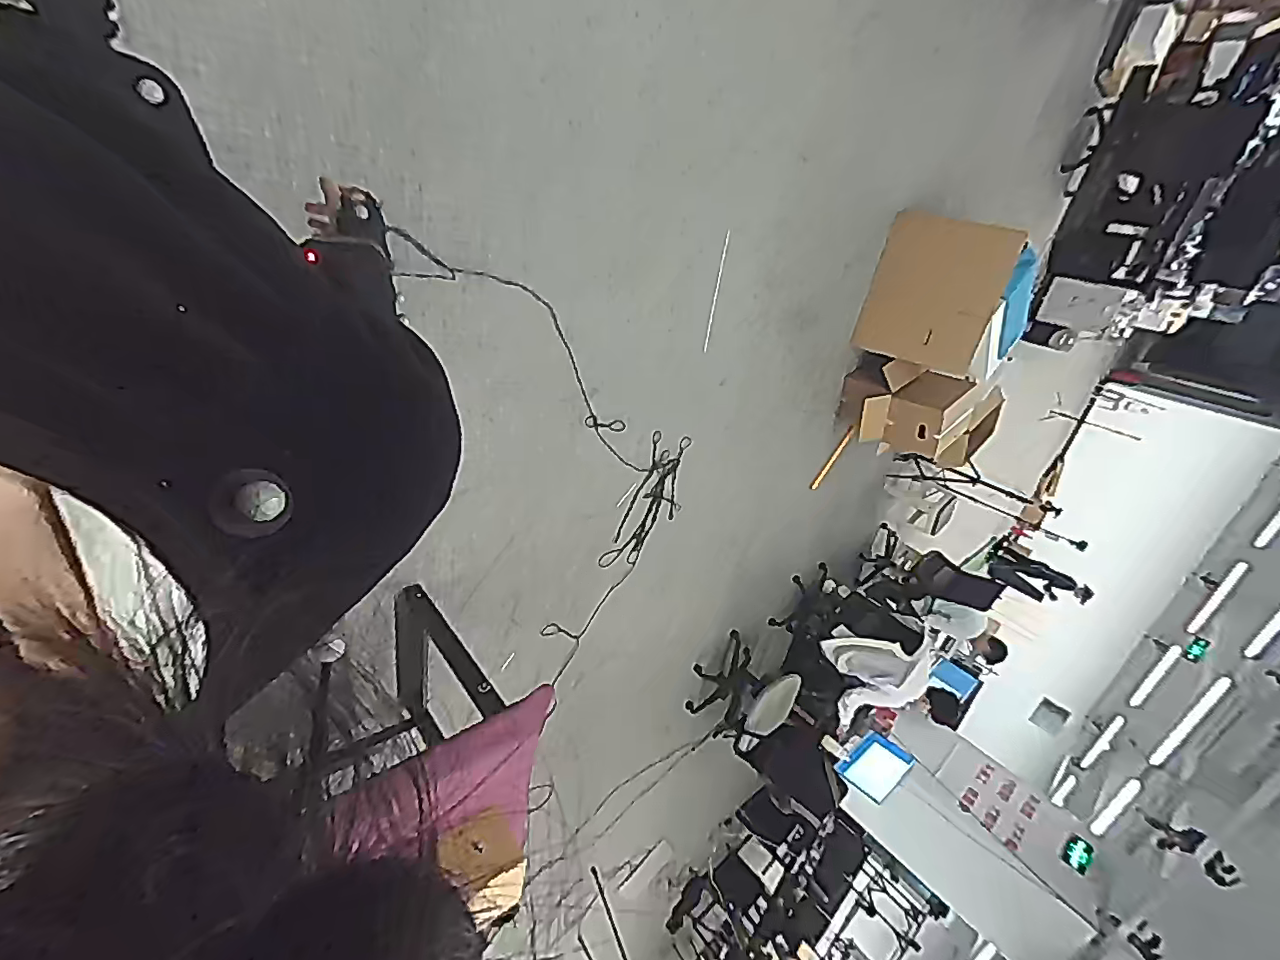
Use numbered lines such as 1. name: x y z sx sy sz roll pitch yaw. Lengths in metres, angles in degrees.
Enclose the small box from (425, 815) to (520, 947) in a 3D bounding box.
1. small box: -0.417 0.973 1.334 0.168 0.176 0.179 -10 122 -42
